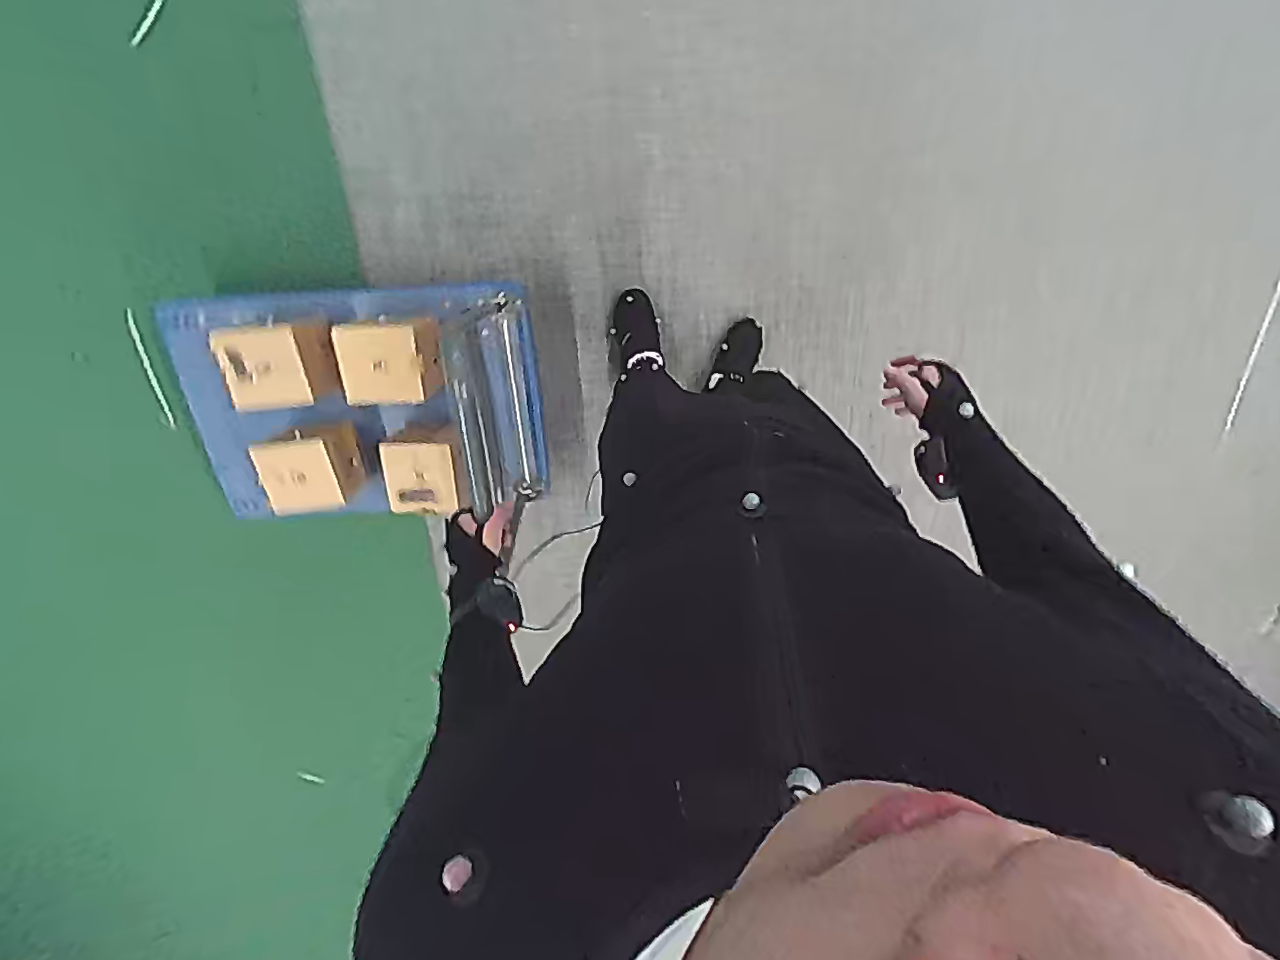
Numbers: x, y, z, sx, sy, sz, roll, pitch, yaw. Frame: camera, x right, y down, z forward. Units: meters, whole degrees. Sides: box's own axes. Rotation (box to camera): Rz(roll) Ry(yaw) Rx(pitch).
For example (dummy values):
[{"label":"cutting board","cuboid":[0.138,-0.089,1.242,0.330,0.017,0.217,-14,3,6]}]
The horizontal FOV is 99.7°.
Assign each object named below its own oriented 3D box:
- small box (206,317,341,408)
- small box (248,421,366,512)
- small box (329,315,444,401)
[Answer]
[{"label":"small box","cuboid":[-0.820,-0.272,1.233,0.179,0.176,0.168,-6,115,-2]},{"label":"small box","cuboid":[-0.805,-0.038,1.336,0.179,0.176,0.168,-7,113,0]},{"label":"small box","cuboid":[-0.572,-0.283,1.243,0.179,0.176,0.168,-2,114,-3]}]
